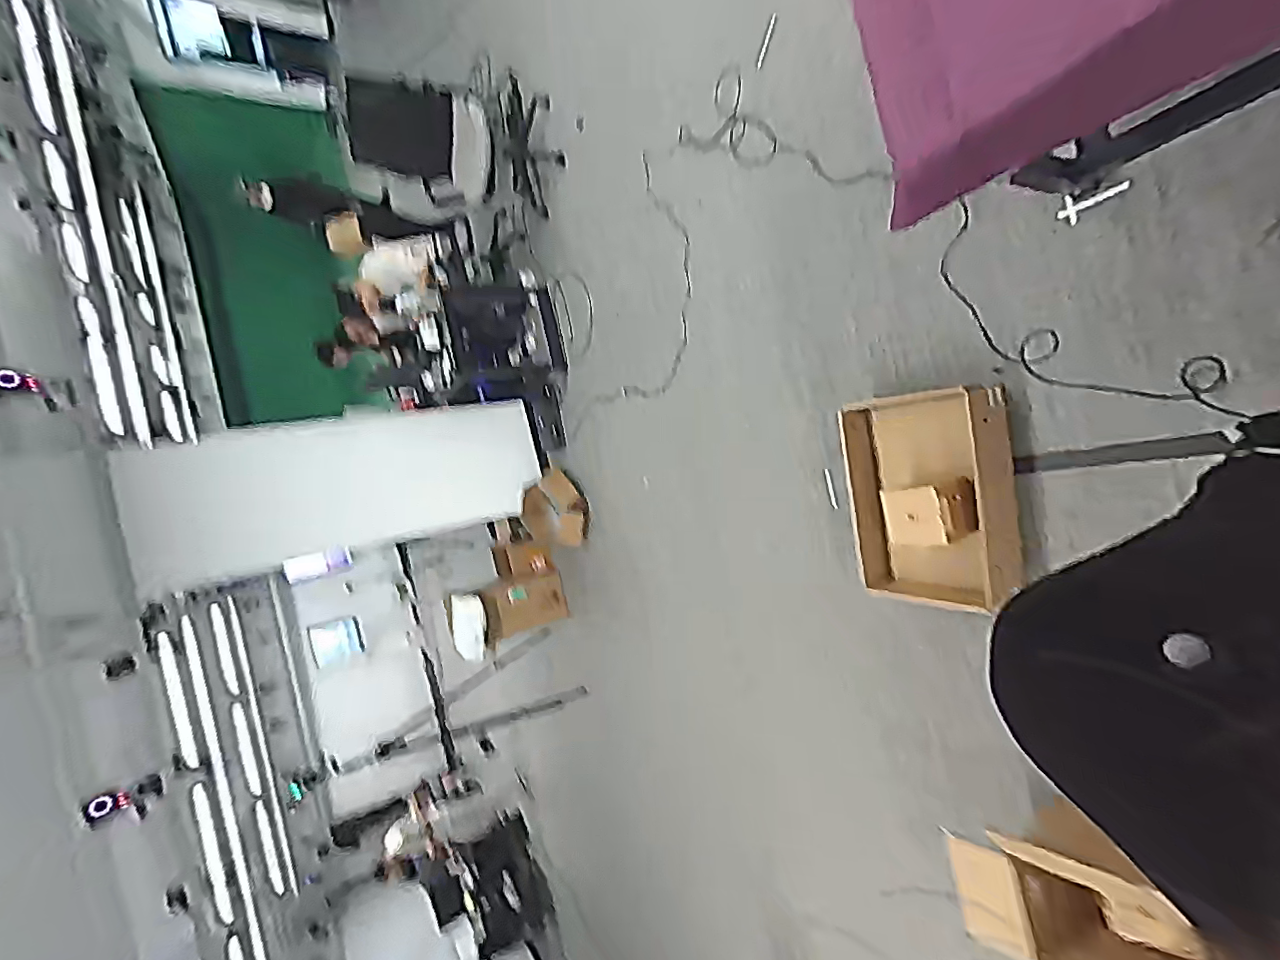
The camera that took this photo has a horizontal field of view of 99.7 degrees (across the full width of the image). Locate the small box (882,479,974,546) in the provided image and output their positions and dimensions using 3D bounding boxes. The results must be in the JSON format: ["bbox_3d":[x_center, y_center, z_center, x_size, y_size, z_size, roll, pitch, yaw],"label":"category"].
[{"bbox_3d":[0.854,0.096,1.592,0.179,0.176,0.168,-13,89,58],"label":"small box"}]
